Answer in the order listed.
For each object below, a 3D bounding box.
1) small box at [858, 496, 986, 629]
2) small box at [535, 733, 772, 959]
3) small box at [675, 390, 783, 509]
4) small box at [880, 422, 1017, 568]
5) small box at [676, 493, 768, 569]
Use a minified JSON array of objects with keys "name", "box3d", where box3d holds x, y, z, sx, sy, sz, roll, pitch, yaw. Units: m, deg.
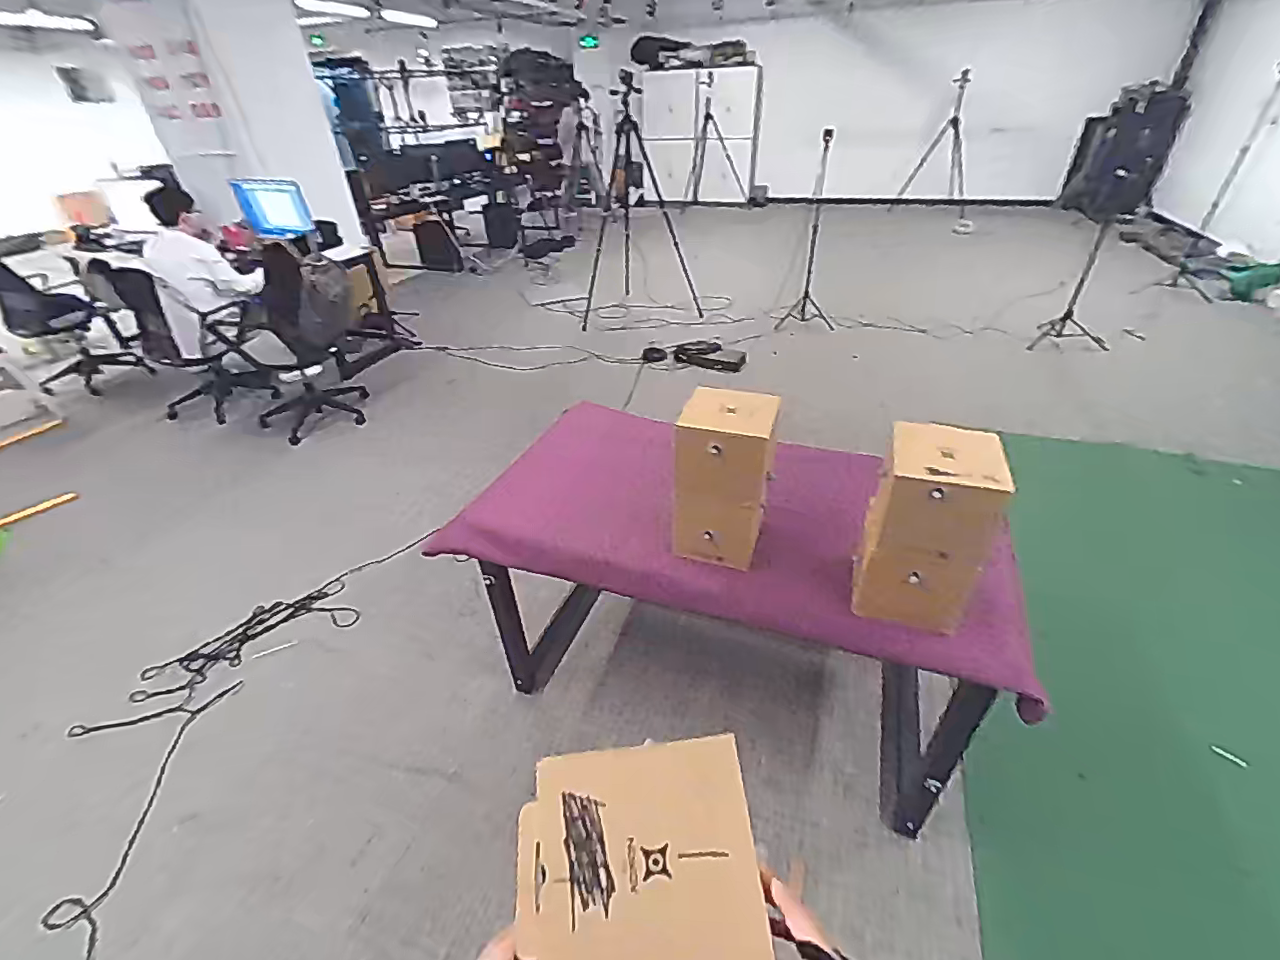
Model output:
[{"name":"small box","box3d":[0.519,0.155,1.016,0.179,0.176,0.168,8,38,19]},{"name":"small box","box3d":[0.012,0.347,0.496,0.179,0.176,0.168,-10,55,1]},{"name":"small box","box3d":[0.177,-0.061,1.074,0.179,0.176,0.168,10,38,19]},{"name":"small box","box3d":[0.510,0.021,0.922,0.168,0.176,0.179,7,37,20]},{"name":"small box","box3d":[0.184,0.069,1.173,0.168,0.176,0.179,10,37,19]}]
